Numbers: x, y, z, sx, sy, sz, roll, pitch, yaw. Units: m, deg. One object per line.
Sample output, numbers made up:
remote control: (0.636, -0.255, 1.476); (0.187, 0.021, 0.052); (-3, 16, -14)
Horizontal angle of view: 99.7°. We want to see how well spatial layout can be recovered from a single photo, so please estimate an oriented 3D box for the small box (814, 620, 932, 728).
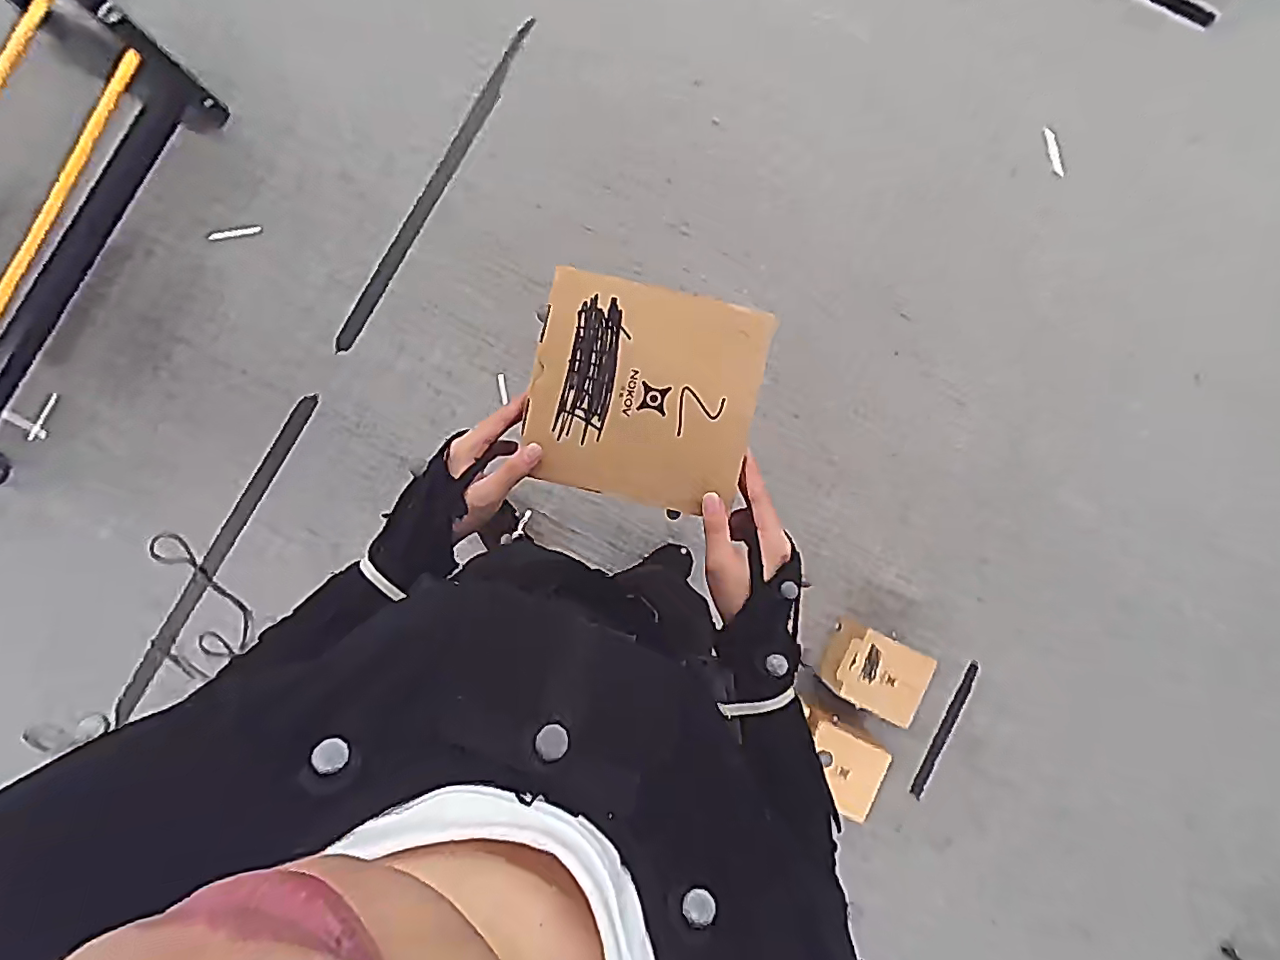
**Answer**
small box: (0.543, 0.450, 1.291); (0.179, 0.176, 0.168); (27, 87, 1)
